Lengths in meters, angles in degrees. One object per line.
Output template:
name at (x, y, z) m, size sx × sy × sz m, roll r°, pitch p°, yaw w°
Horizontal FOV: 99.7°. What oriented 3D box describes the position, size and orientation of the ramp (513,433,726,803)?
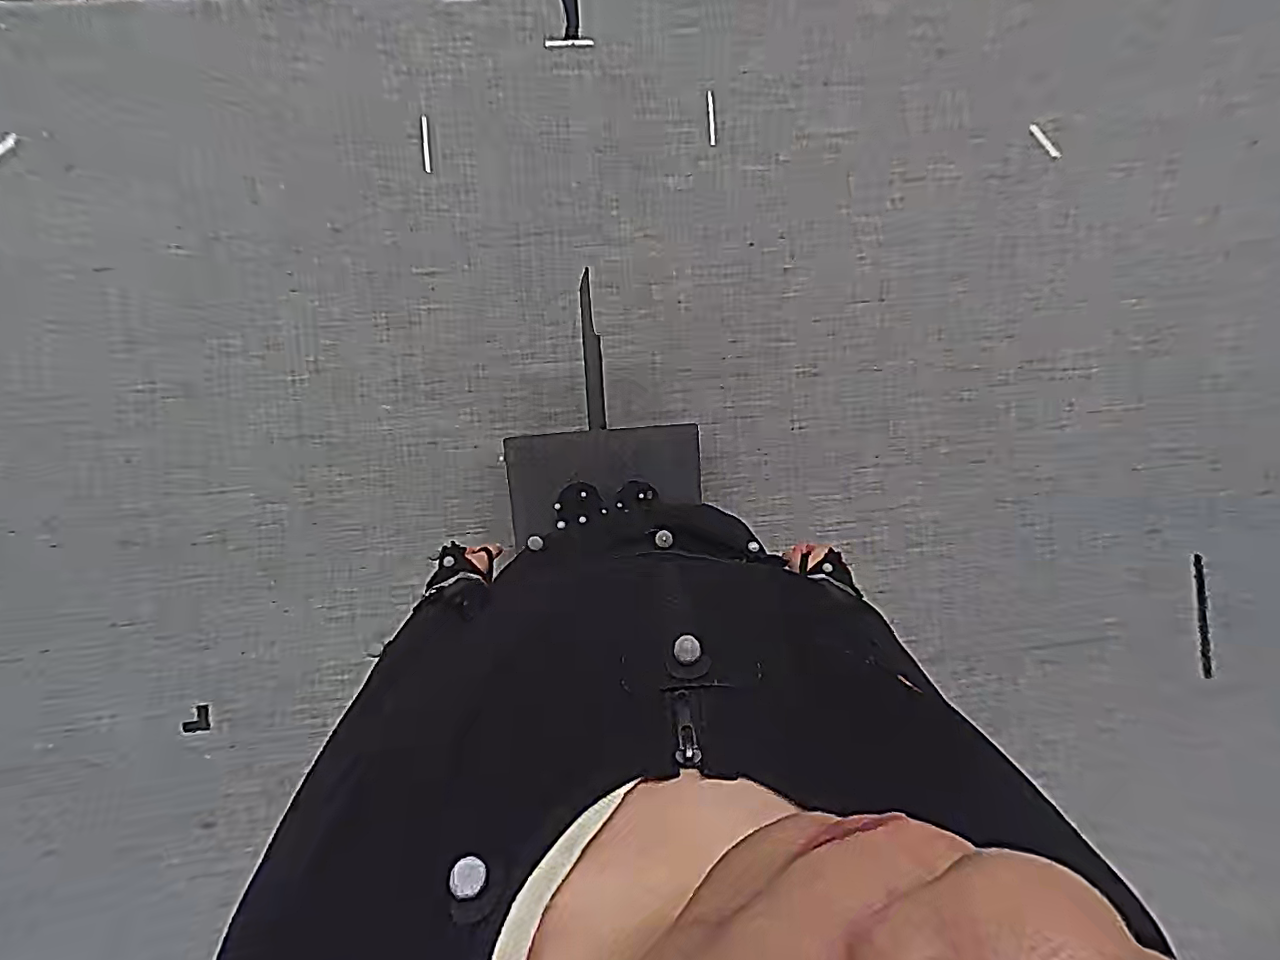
ramp at (-0.033, 0.389, 1.440) m, size 0.509 × 0.206 × 0.991 m, roll -7°, pitch 90°, yaw -5°
